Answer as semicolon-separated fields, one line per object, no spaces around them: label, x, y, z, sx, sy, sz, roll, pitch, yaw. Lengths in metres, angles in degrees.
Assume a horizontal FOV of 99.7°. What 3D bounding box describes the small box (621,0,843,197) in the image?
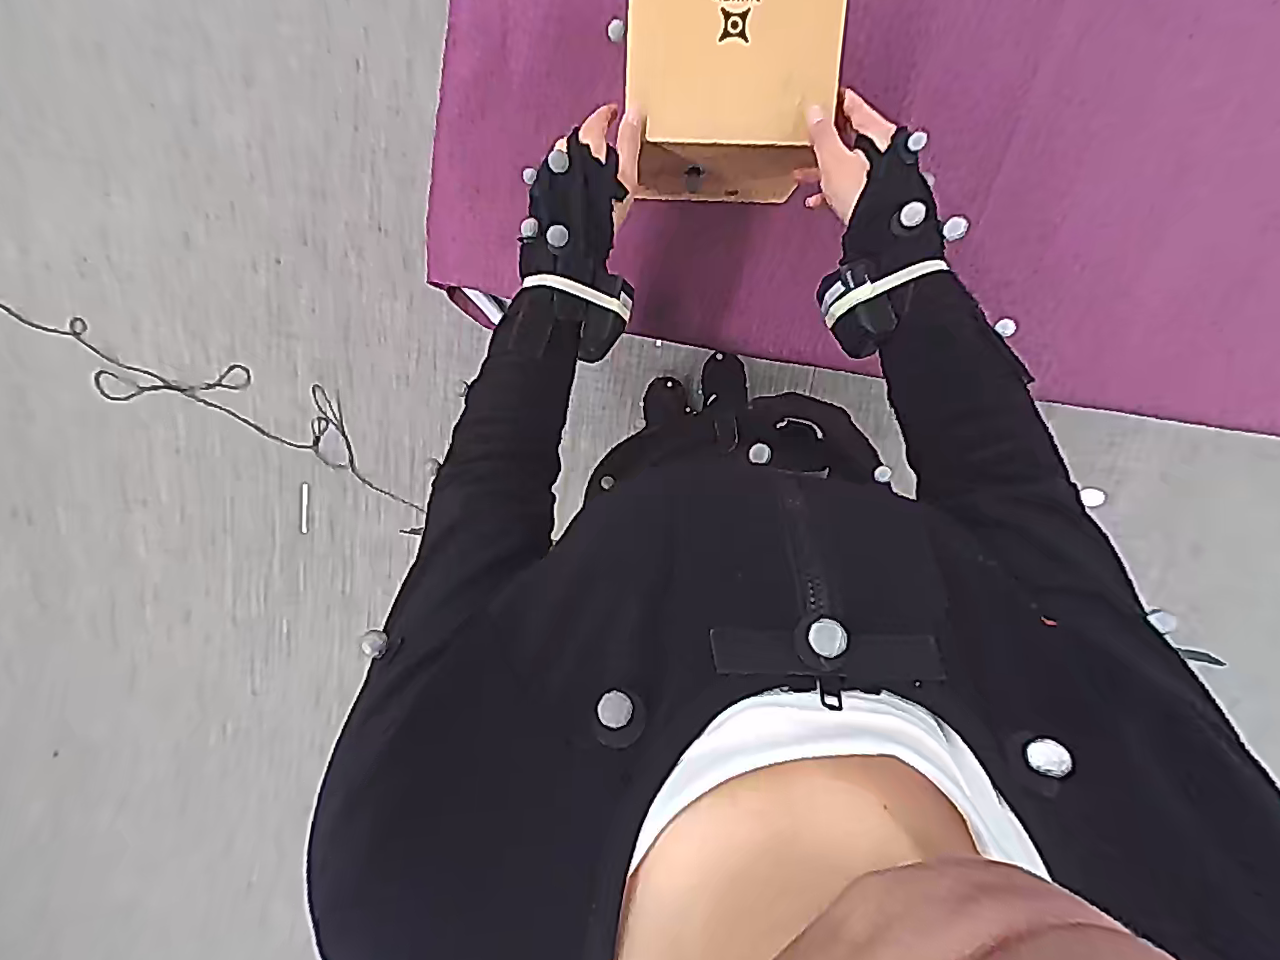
small box;0.074;-0.370;0.485;0.168;0.176;0.179;2;102;2
